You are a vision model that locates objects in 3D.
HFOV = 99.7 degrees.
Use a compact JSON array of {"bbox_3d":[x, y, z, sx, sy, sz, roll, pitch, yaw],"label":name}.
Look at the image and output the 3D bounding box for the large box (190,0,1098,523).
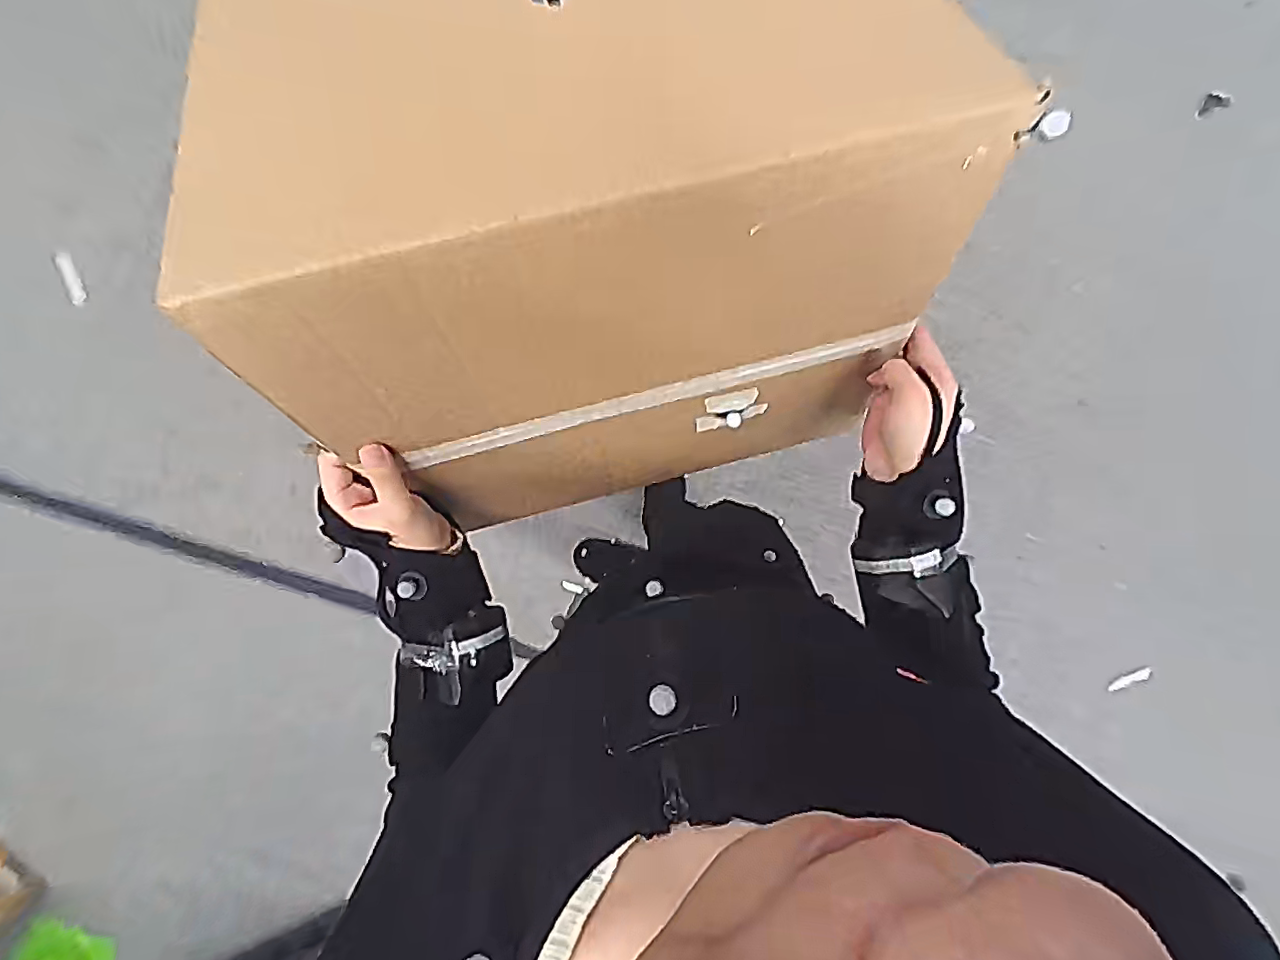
[{"bbox_3d":[-0.021,-0.205,0.421,0.408,0.320,0.320,-15,66,-3],"label":"large box"}]
